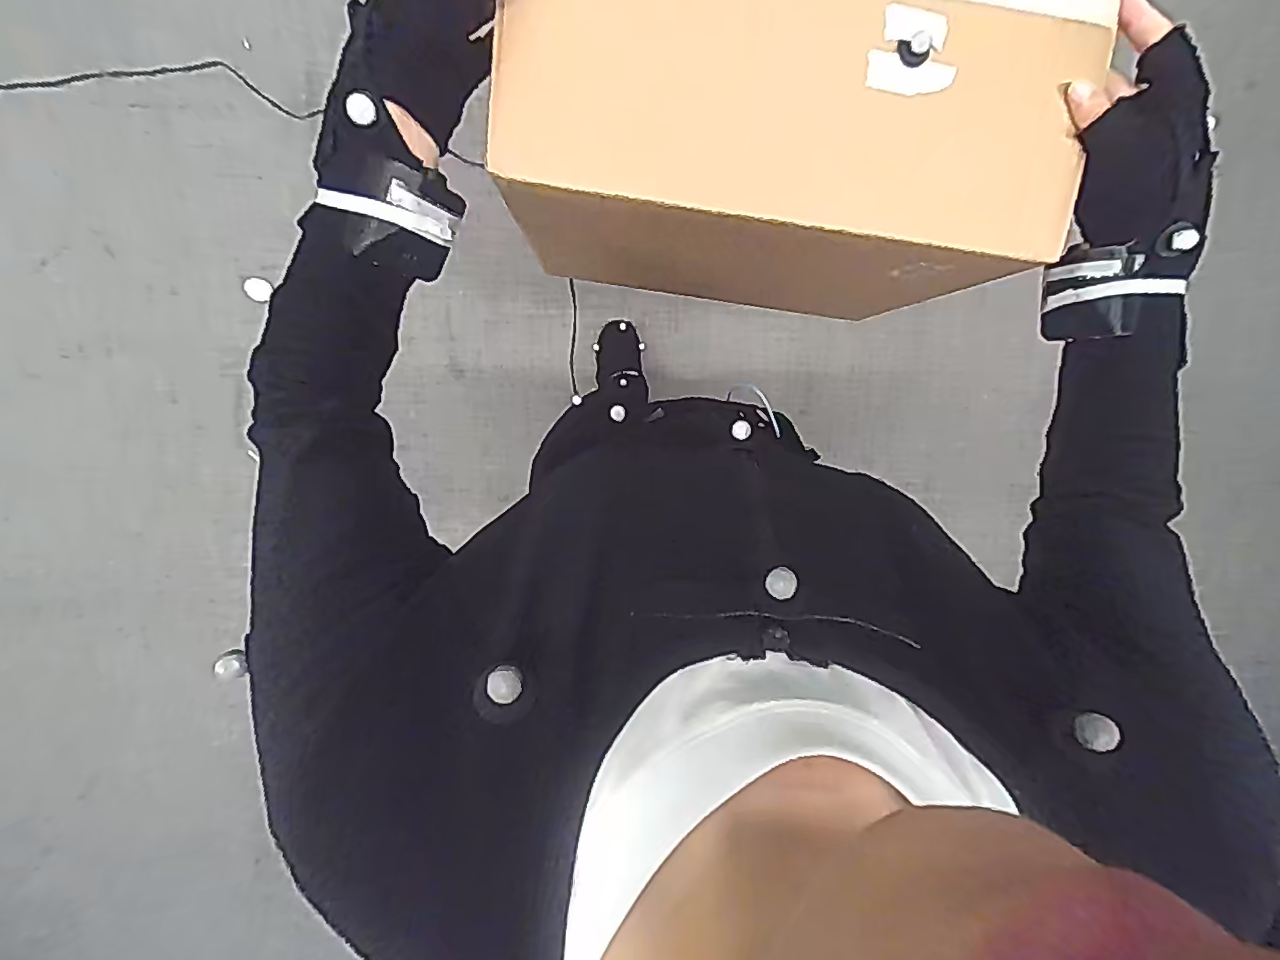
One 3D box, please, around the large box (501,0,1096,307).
[{"bbox_3d":[0.106,-0.364,0.507,0.408,0.320,0.320,6,99,-4],"label":"large box"}]
